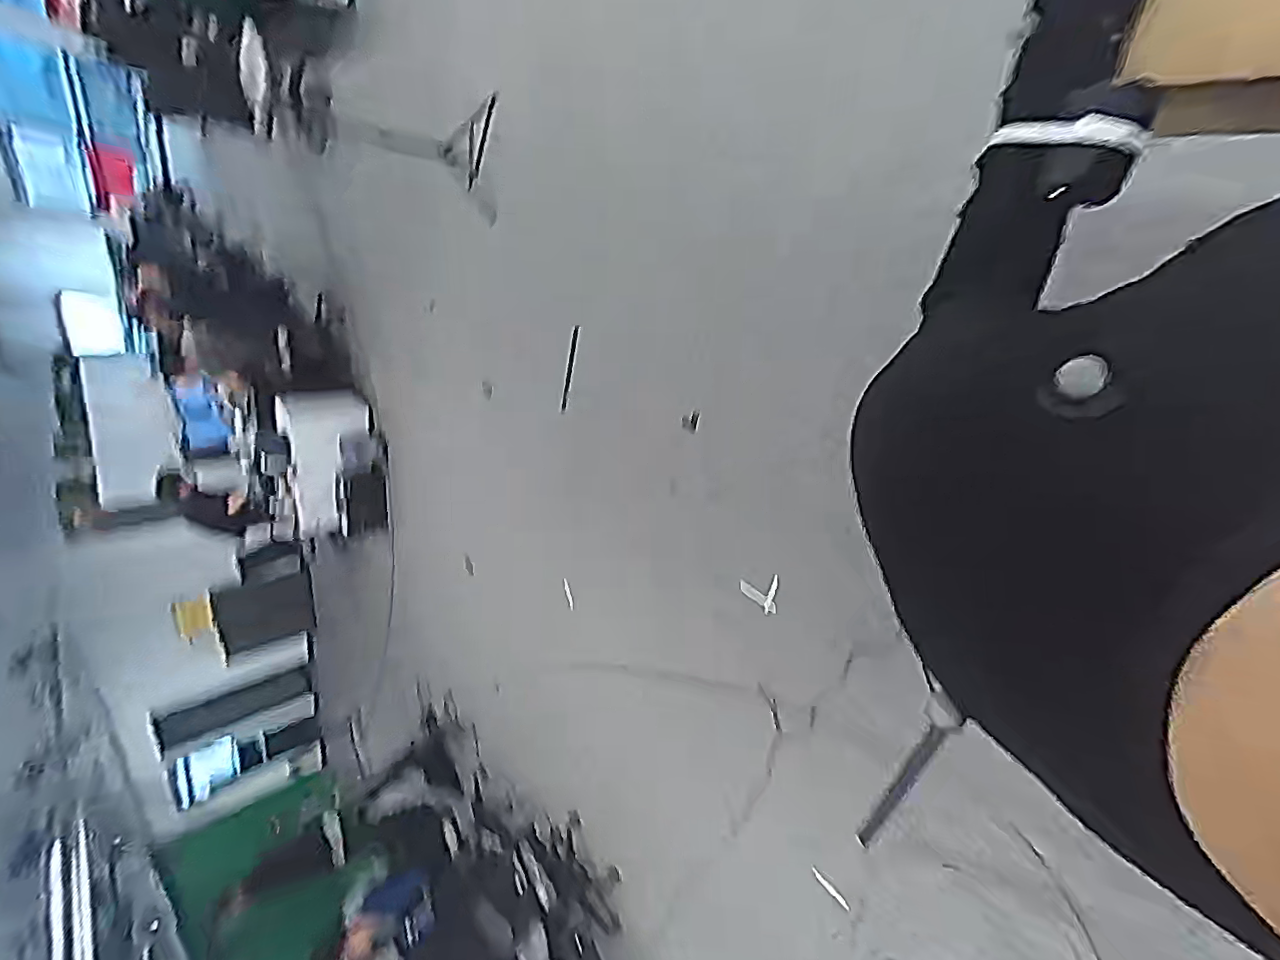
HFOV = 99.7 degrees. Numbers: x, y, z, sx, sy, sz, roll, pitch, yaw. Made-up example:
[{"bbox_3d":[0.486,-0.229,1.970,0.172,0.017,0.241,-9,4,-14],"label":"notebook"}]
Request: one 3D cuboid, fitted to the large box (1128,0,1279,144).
[{"bbox_3d":[0.575,-0.390,0.287,0.408,0.320,0.320,22,123,36],"label":"large box"}]
